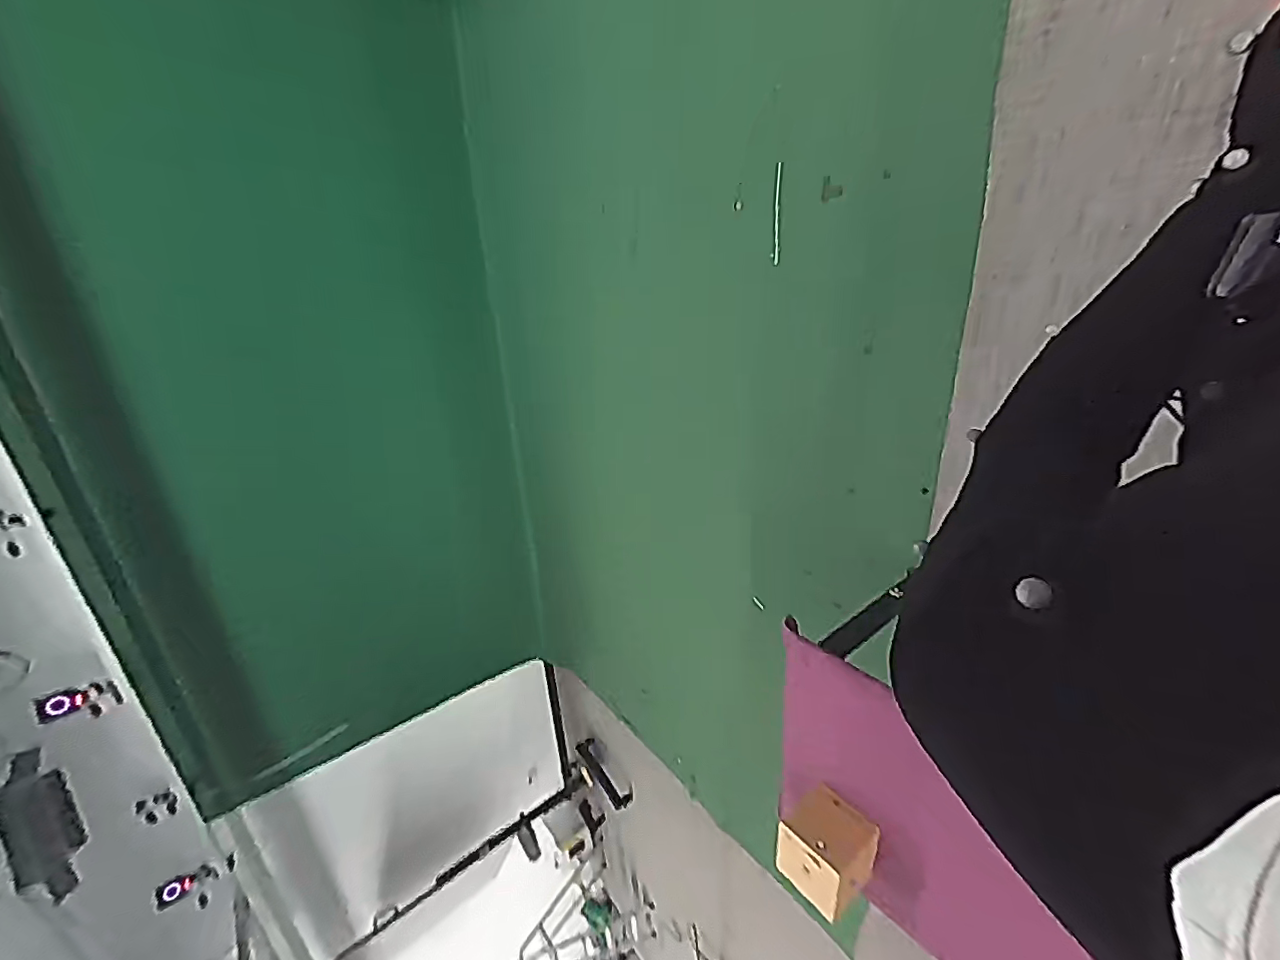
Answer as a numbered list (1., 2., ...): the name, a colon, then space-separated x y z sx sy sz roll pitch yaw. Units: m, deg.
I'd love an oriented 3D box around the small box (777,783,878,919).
1. small box: 0.456 0.894 1.318 0.168 0.176 0.179 23 124 47
